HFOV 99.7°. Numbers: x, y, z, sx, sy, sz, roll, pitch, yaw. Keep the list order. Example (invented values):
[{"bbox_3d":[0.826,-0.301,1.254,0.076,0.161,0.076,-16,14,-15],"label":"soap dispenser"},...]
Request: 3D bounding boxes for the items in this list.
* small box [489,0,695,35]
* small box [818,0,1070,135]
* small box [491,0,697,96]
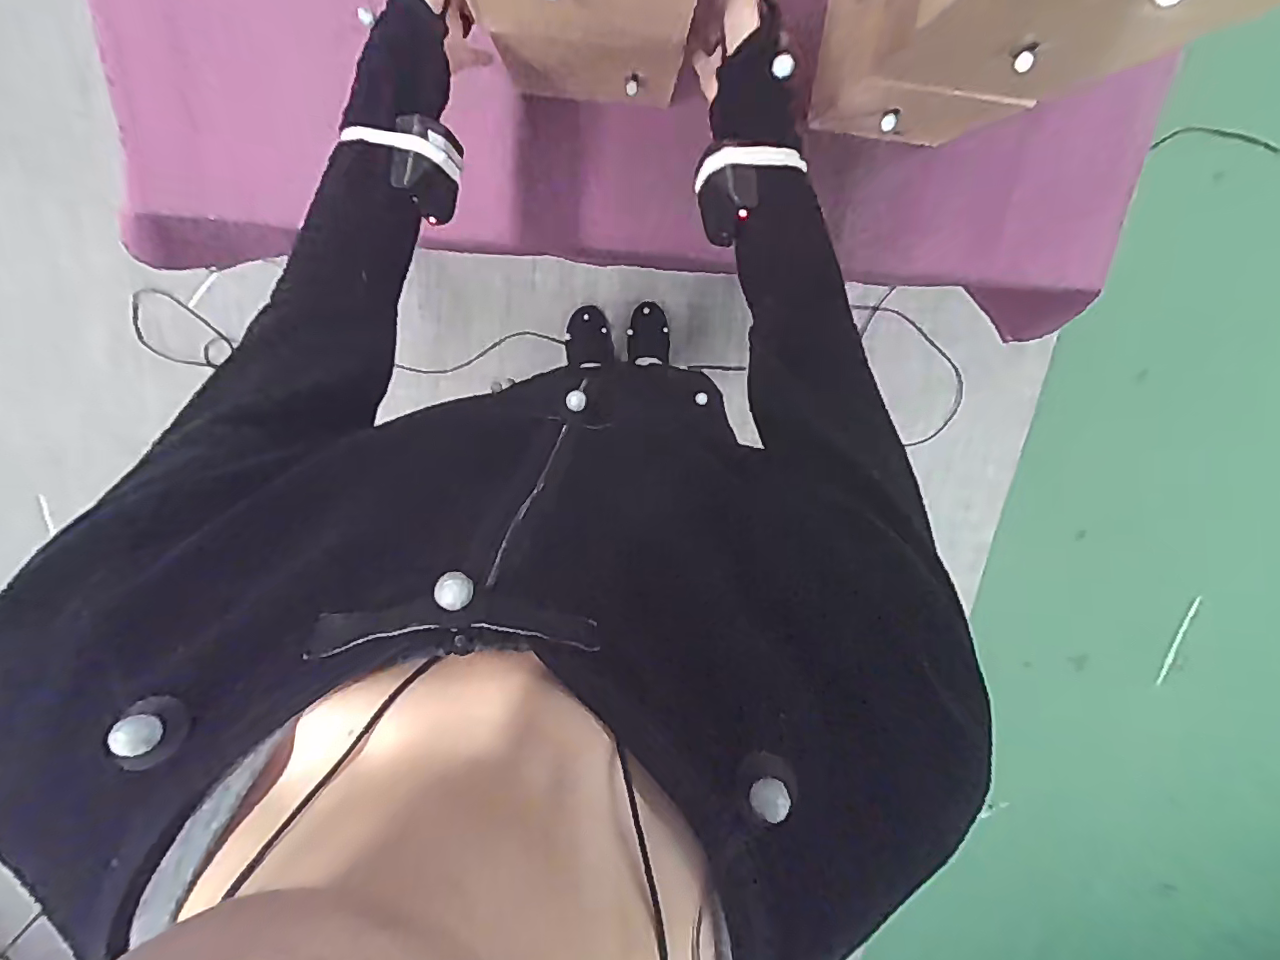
[{"bbox_3d":[-0.033,-0.434,0.358,0.179,0.176,0.168,4,109,-5],"label":"small box"},{"bbox_3d":[0.295,-0.470,0.540,0.168,0.176,0.179,5,109,-5],"label":"small box"},{"bbox_3d":[-0.038,-0.491,0.512,0.179,0.176,0.168,3,109,-4],"label":"small box"}]
